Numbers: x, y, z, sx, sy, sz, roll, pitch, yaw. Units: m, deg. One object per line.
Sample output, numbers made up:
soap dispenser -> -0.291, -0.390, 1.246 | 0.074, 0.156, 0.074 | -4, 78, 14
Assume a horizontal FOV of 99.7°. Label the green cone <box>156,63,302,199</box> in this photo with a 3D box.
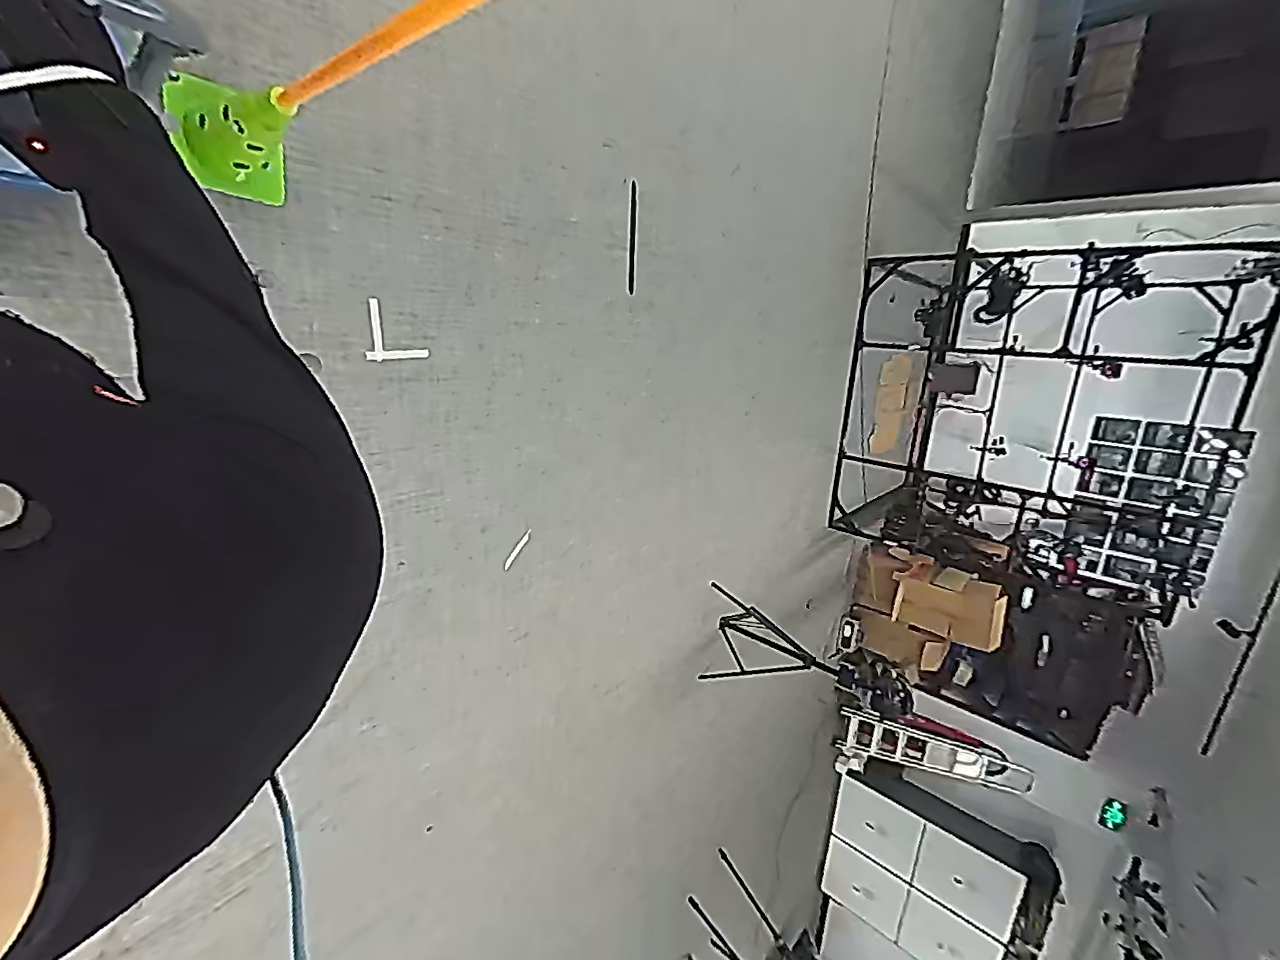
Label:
green cone -> -0.725, -0.670, 1.006 | 0.202, 0.368, 0.200 | -10, 110, -50
